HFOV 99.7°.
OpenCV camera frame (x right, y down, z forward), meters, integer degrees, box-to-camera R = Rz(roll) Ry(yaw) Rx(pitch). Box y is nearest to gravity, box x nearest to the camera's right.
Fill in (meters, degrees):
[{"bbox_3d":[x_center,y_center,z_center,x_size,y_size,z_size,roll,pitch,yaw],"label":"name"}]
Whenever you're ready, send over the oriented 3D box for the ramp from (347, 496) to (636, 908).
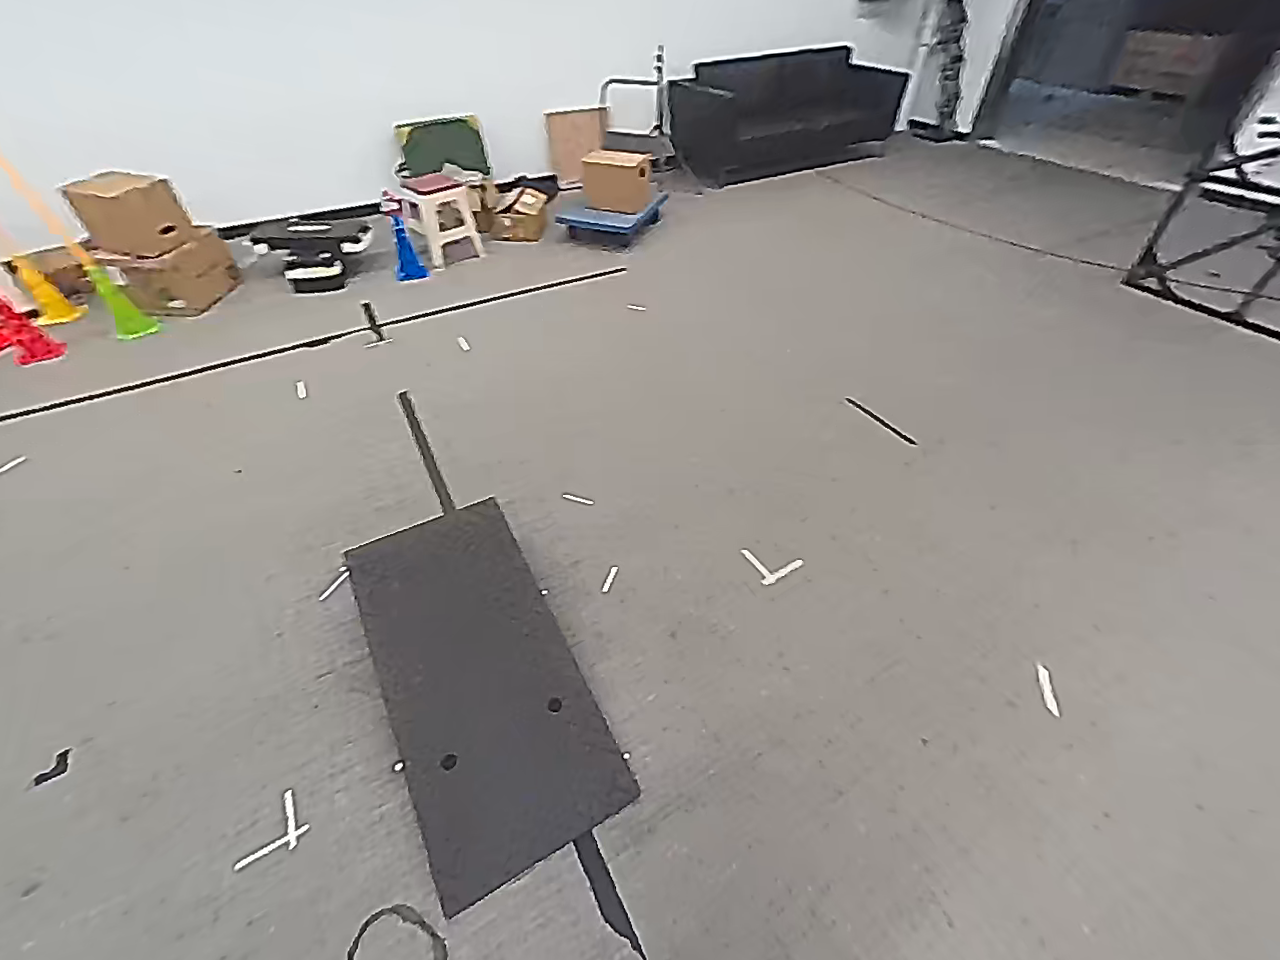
[{"bbox_3d":[-0.450,0.497,1.506,0.509,0.206,0.991,-22,48,-23],"label":"ramp"}]
